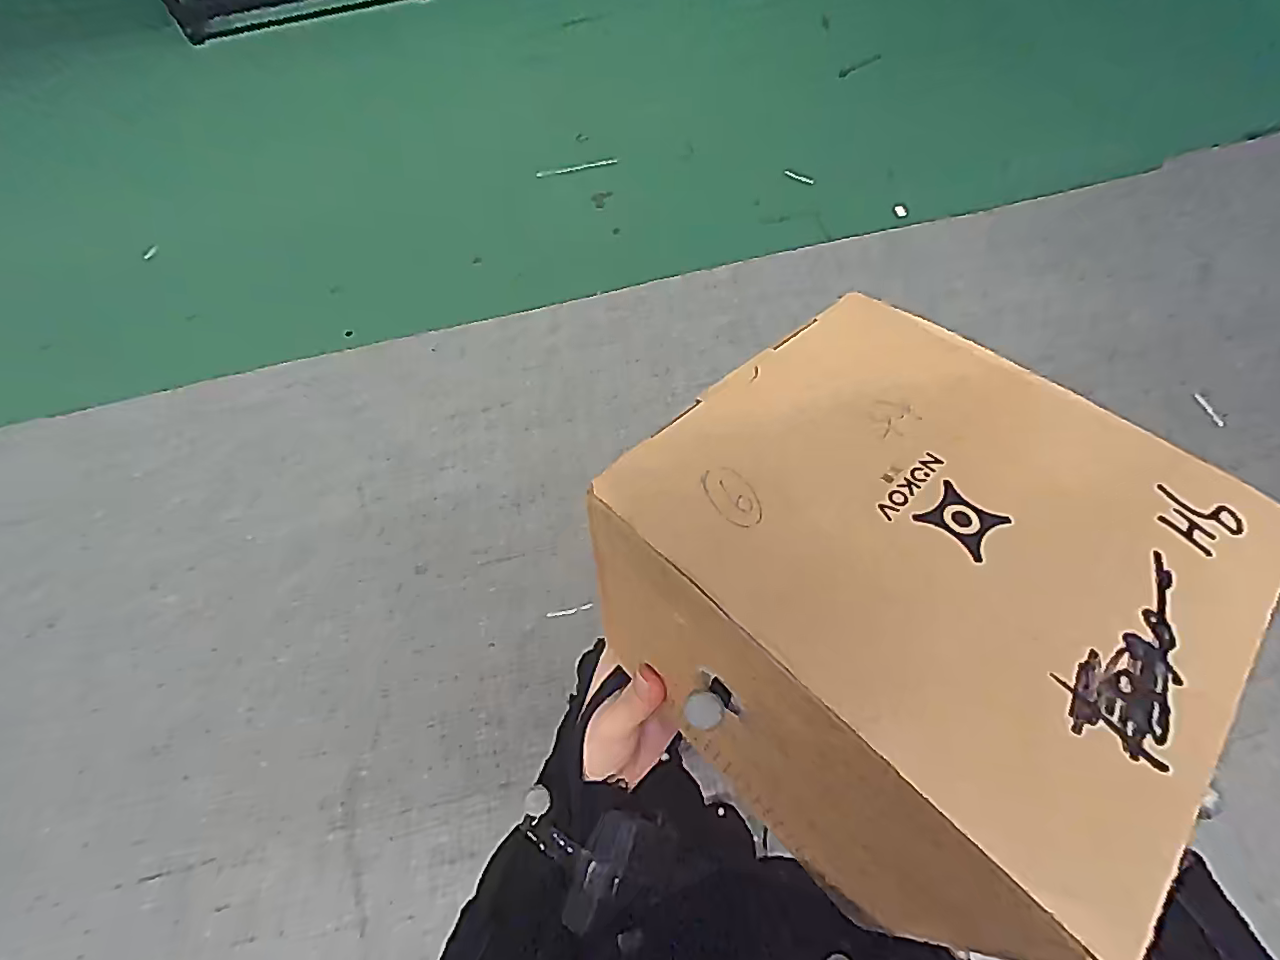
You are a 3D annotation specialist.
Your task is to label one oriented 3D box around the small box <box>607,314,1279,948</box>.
[{"bbox_3d":[0.103,0.062,0.253,0.168,0.176,0.179,-38,62,-23],"label":"small box"}]
